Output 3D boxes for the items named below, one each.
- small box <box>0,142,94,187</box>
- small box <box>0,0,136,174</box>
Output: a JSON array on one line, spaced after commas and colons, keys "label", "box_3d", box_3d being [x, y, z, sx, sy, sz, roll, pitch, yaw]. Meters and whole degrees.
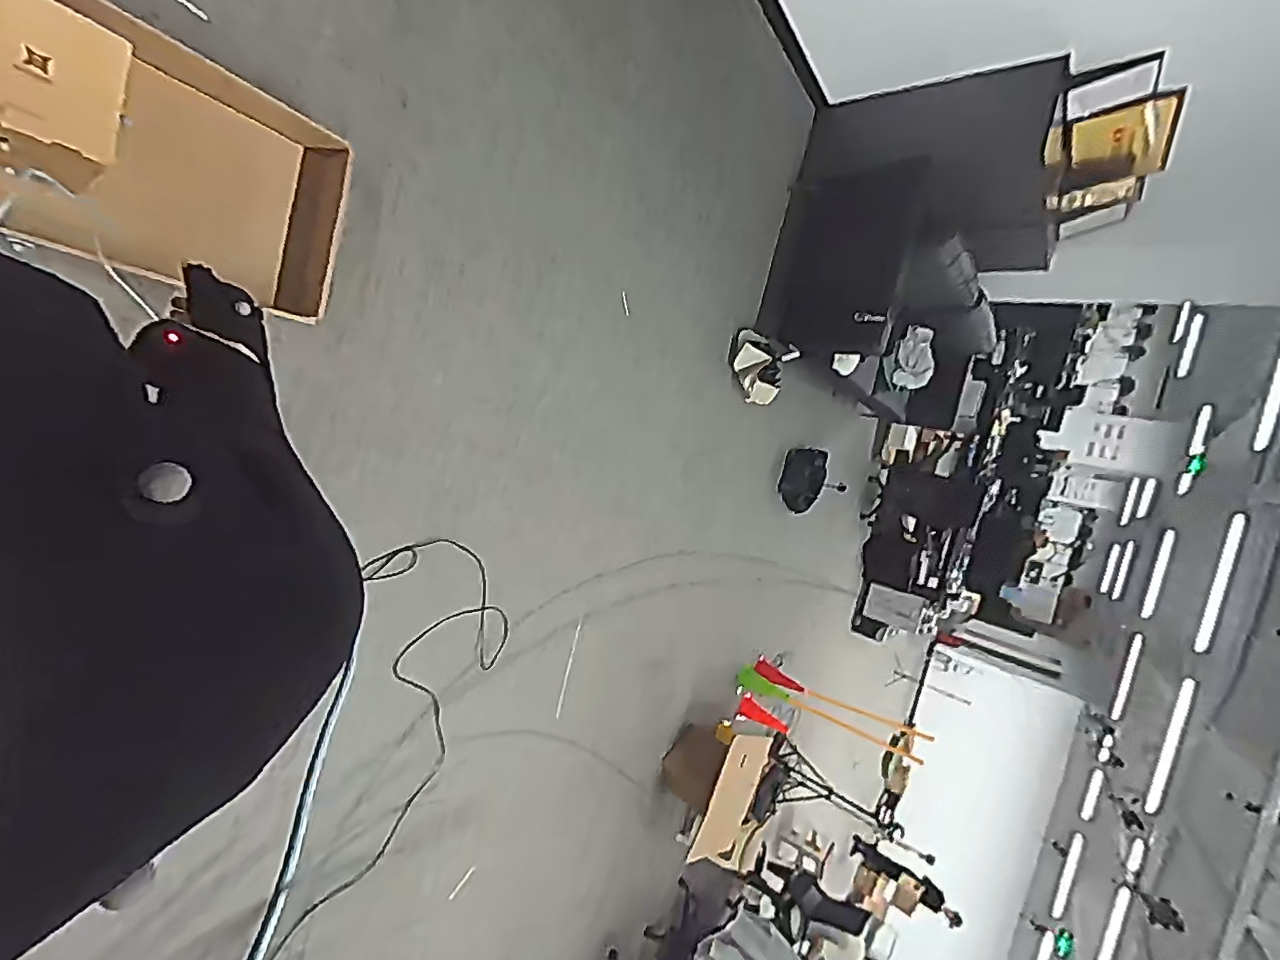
[{"label": "small box", "box_3d": [-0.961, -0.589, 0.841, 0.168, 0.176, 0.179, 11, 94, -53]}, {"label": "small box", "box_3d": [-0.835, -0.555, 0.743, 0.168, 0.176, 0.179, 9, 95, -53]}]
